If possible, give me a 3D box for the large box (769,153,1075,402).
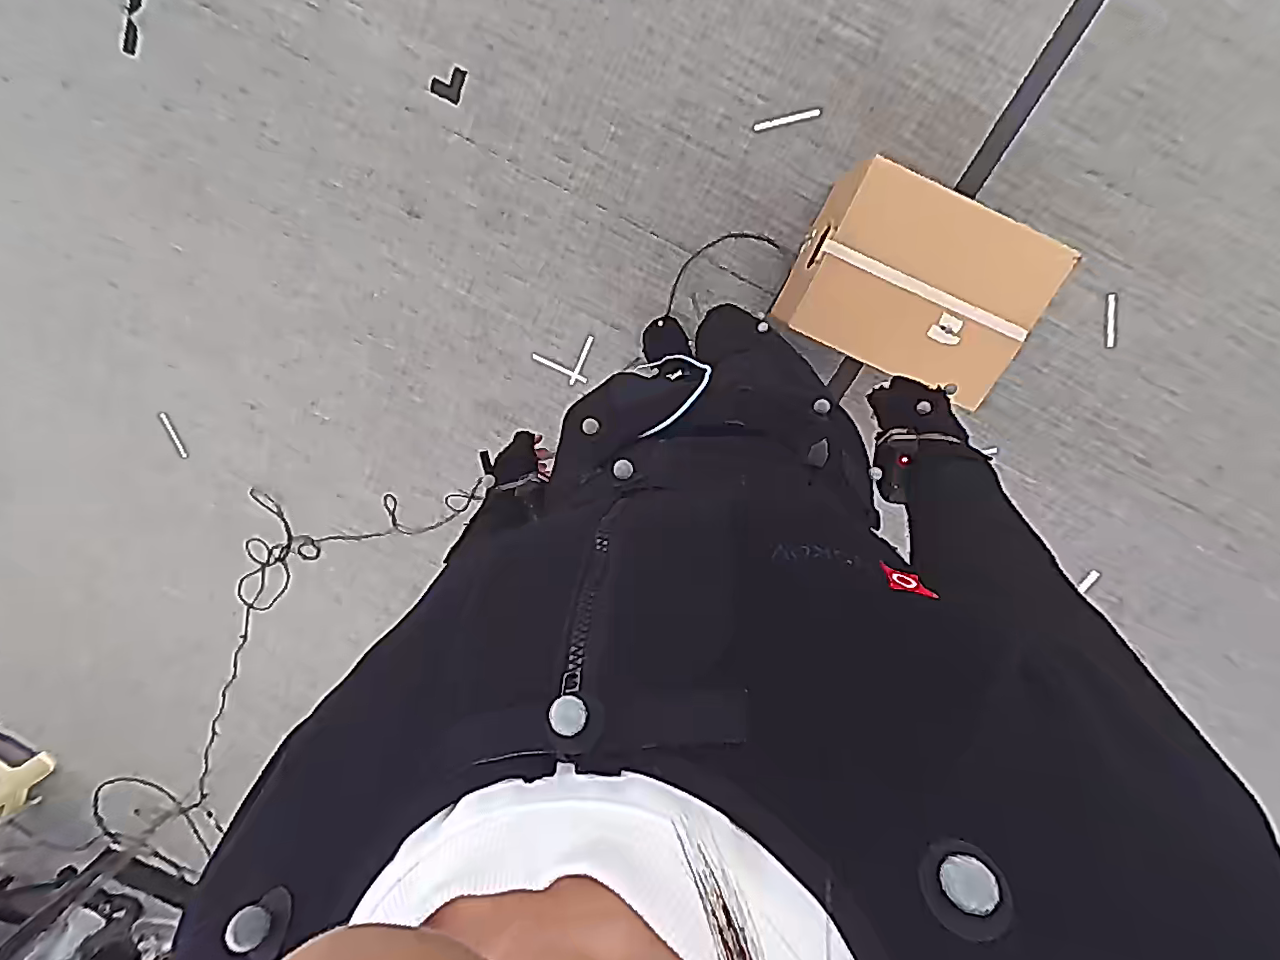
[{"bbox_3d":[0.529,-0.405,1.117,0.408,0.320,0.320,24,112,-3],"label":"large box"}]
